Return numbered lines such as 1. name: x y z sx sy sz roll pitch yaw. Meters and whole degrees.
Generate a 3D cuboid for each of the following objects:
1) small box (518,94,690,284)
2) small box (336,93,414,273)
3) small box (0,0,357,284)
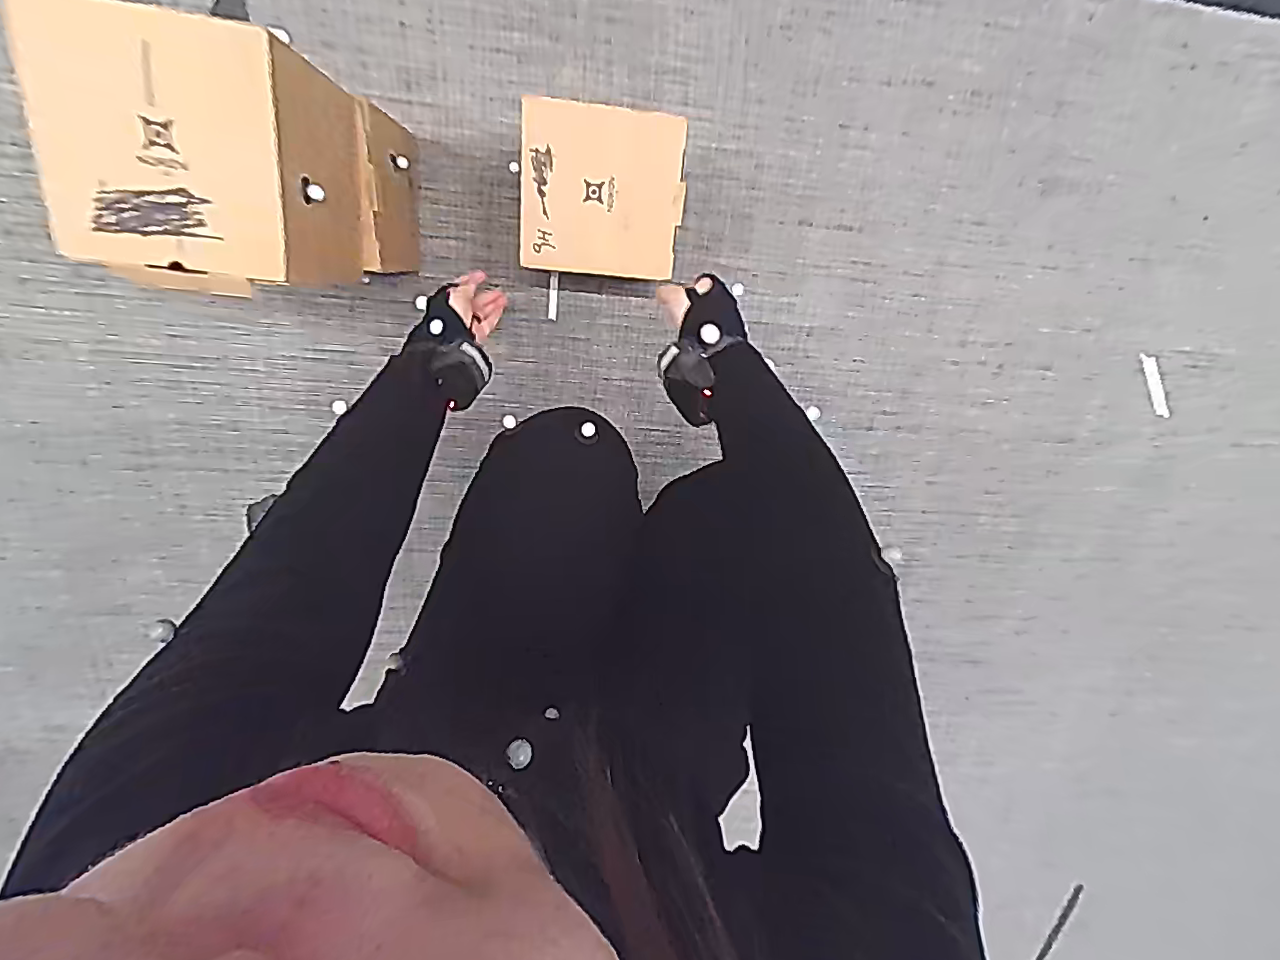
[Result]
1. small box: -0.051 -0.336 0.654 0.179 0.176 0.168 3 111 -8
2. small box: -0.369 -0.335 0.620 0.179 0.176 0.168 2 111 -7
3. small box: -0.362 -0.273 0.468 0.168 0.176 0.179 5 109 -9
